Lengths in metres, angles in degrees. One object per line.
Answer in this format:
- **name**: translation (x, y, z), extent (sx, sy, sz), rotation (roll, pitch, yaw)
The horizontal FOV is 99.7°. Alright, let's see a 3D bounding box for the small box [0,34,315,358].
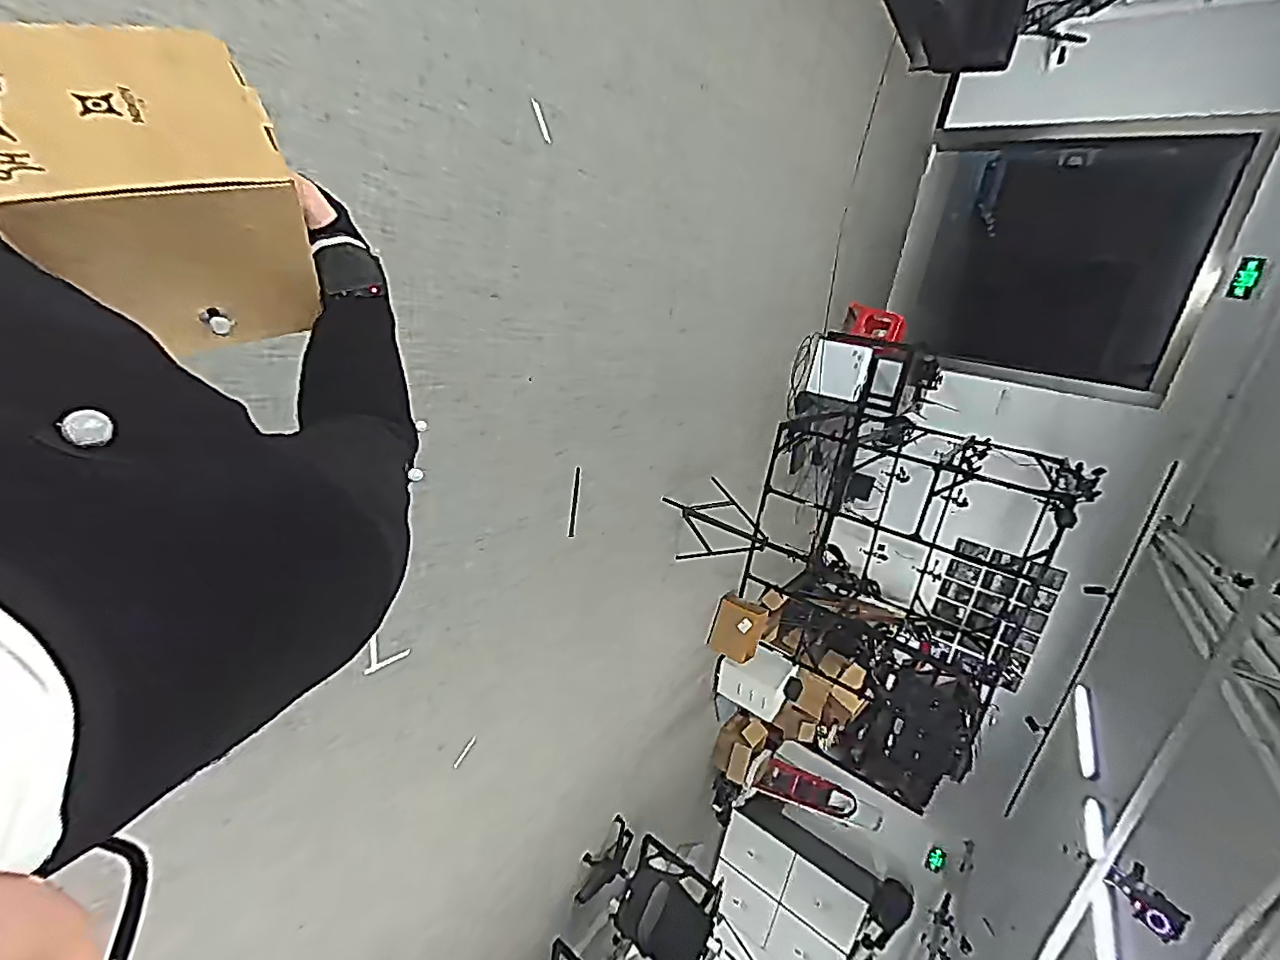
- **small box**: translation (-0.404, -0.233, 0.466), extent (0.179, 0.168, 0.176), rotation (-24, 165, -30)
